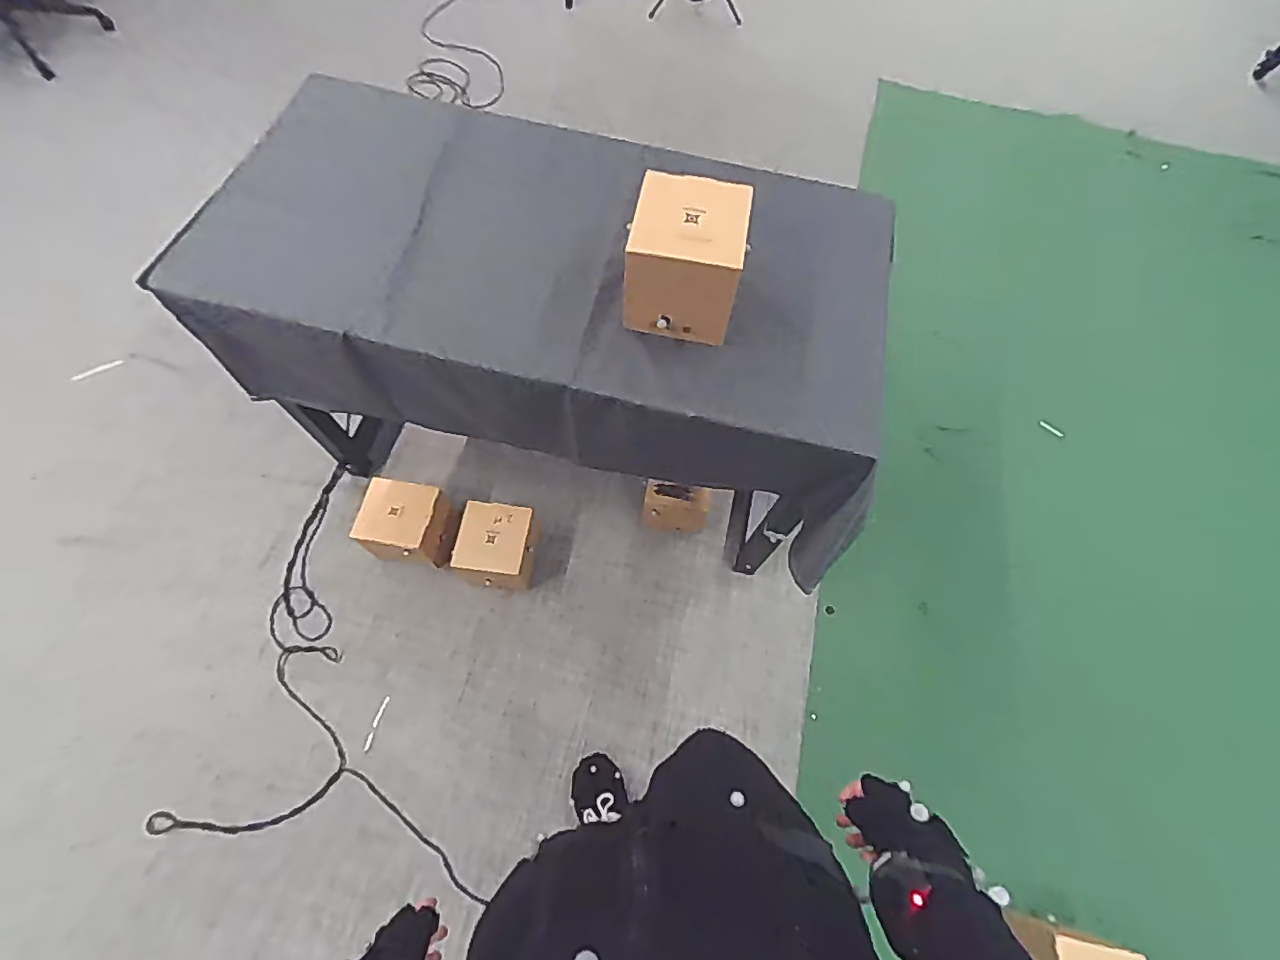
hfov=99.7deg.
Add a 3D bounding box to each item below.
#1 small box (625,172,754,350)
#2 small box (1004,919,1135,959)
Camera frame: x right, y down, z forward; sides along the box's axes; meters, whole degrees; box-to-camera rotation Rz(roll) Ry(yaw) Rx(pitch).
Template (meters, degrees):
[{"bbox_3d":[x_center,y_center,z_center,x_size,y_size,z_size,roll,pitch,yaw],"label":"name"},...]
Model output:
[{"bbox_3d":[0.071,-0.335,0.842,0.168,0.176,0.179,11,65,2],"label":"small box"},{"bbox_3d":[0.854,1.007,1.072,0.179,0.176,0.168,13,65,3],"label":"small box"}]
